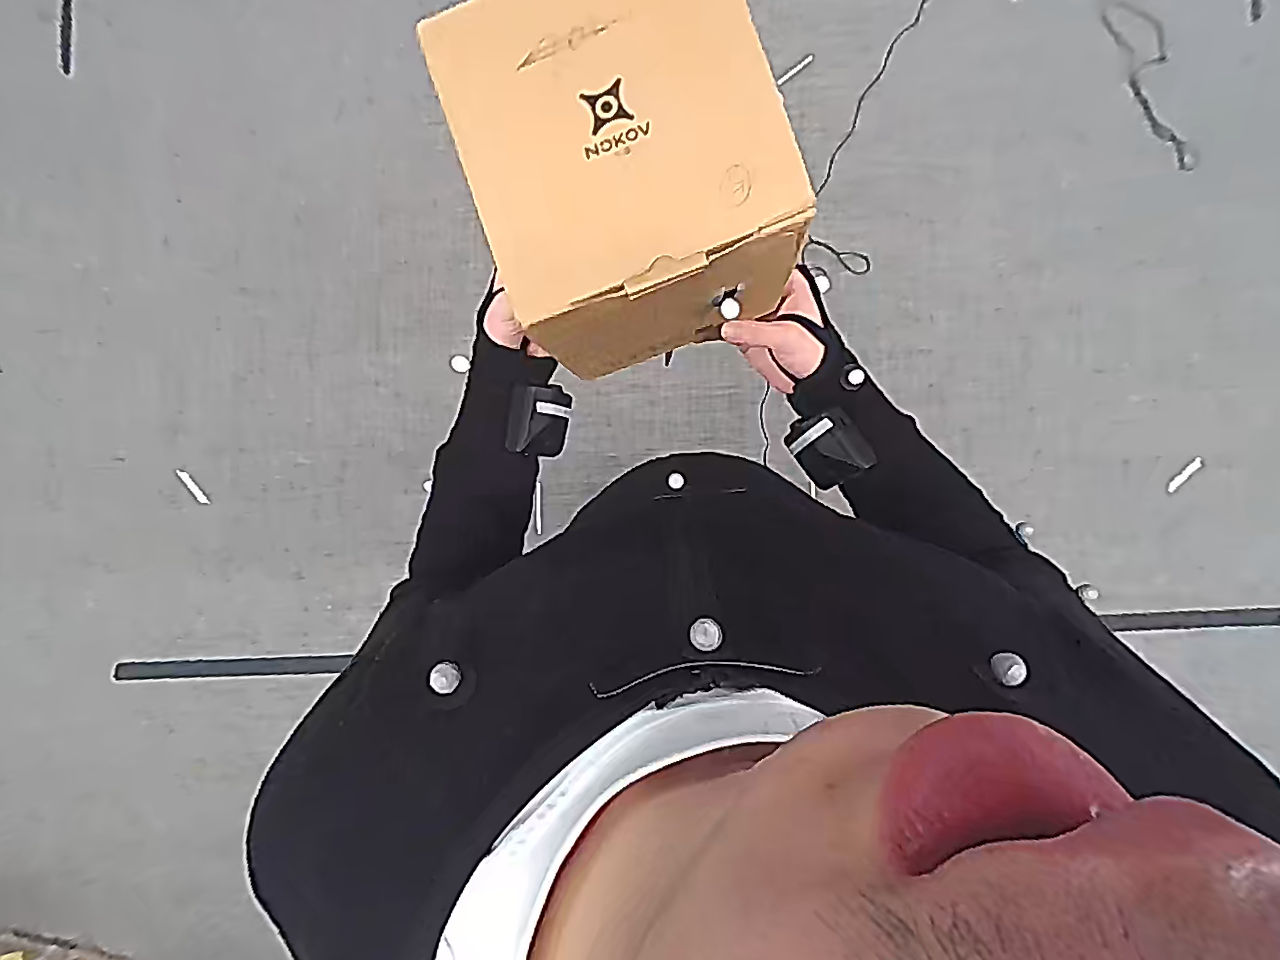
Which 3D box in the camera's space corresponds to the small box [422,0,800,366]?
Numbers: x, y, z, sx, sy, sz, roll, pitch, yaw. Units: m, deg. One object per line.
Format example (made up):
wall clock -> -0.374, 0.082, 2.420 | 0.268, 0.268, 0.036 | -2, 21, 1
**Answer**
small box -> -0.009, -0.191, 0.370 | 0.168, 0.176, 0.179 | -20, 88, 6
